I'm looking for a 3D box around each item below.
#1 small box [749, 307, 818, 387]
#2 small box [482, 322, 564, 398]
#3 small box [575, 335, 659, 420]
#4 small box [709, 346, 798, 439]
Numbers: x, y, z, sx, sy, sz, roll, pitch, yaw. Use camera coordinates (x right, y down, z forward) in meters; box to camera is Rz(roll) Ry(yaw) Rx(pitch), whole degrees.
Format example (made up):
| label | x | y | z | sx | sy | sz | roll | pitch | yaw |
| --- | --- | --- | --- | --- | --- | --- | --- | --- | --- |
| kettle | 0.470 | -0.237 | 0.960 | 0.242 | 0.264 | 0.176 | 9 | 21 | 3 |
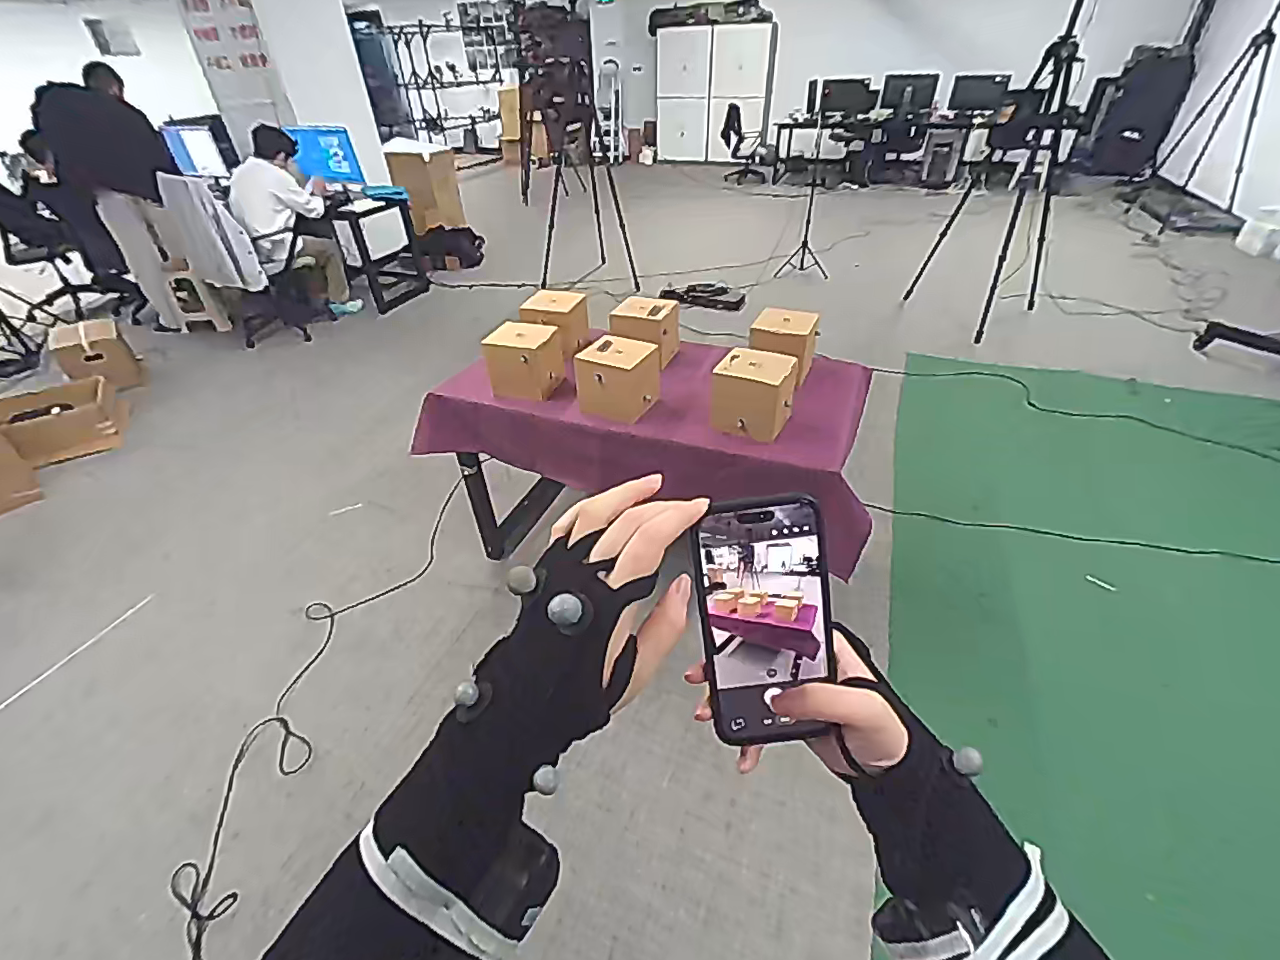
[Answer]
| label | x | y | z | sx | sy | sz | roll | pitch | yaw |
| --- | --- | --- | --- | --- | --- | --- | --- | --- | --- |
| small box | 0.429 | -0.406 | 1.640 | 0.168 | 0.176 | 0.179 | 15 | 42 | 22 |
| small box | -0.344 | -0.359 | 1.622 | 0.179 | 0.176 | 0.168 | 10 | 39 | 13 |
| small box | -0.060 | -0.286 | 1.512 | 0.179 | 0.176 | 0.168 | 18 | 42 | 22 |
| small box | 0.295 | -0.227 | 1.419 | 0.179 | 0.176 | 0.168 | 18 | 42 | 24 |
